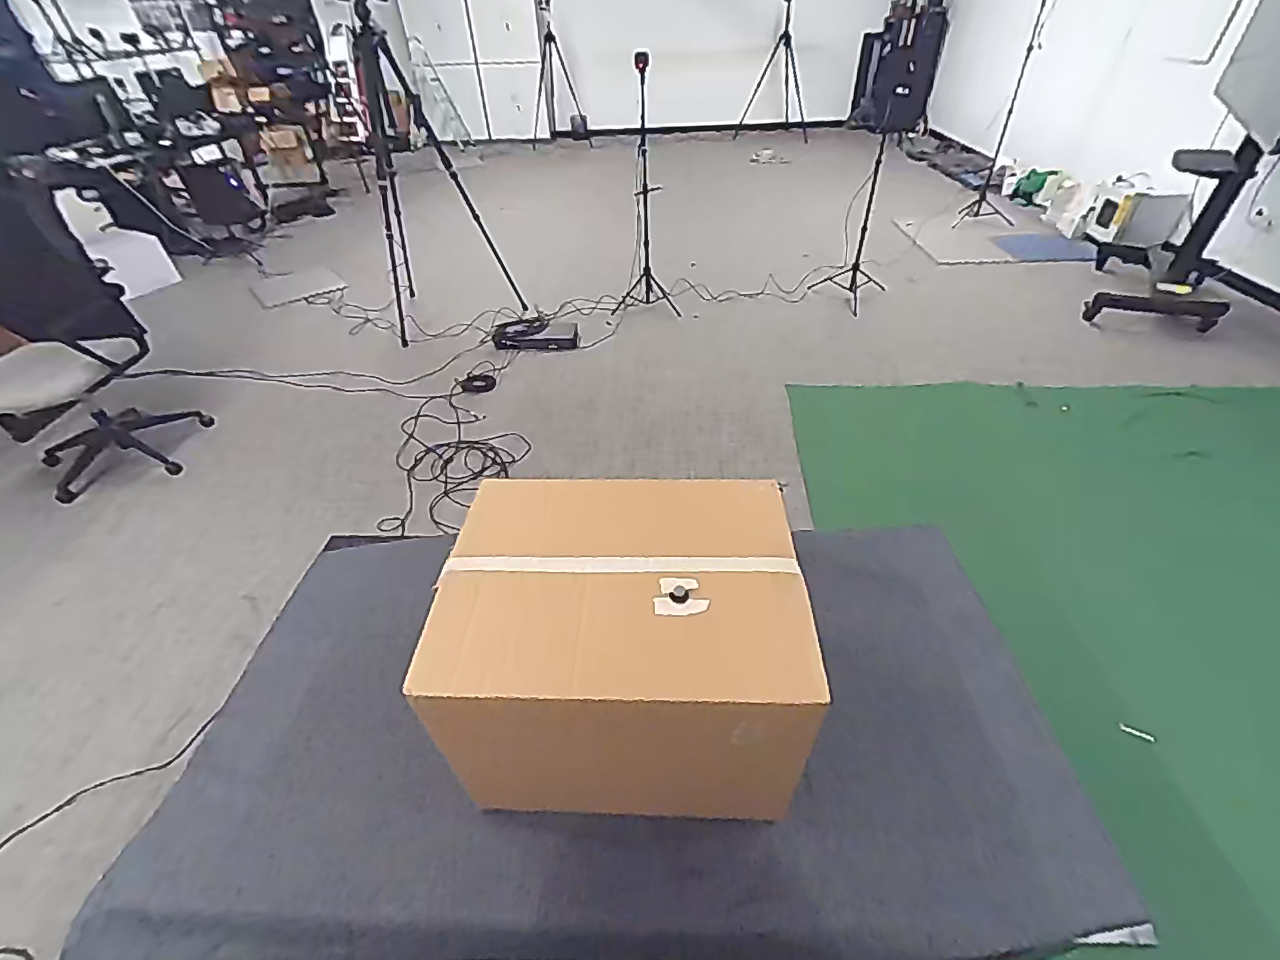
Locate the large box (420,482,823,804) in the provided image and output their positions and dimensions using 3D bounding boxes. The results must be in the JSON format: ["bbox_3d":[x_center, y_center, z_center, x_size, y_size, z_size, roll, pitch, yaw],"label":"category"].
[{"bbox_3d":[-0.015,0.217,0.732,0.408,0.320,0.320,0,42,2],"label":"large box"}]
